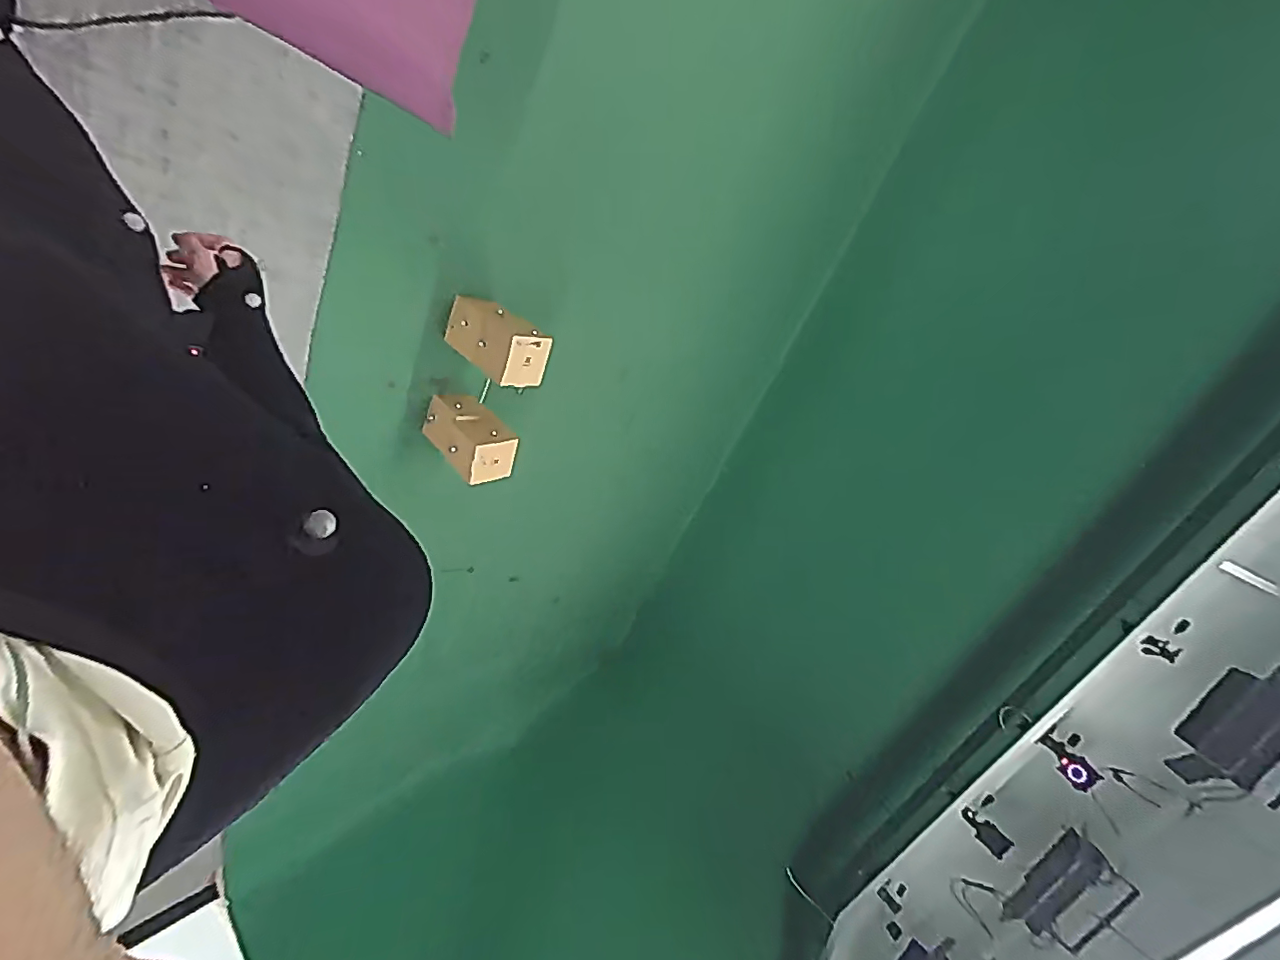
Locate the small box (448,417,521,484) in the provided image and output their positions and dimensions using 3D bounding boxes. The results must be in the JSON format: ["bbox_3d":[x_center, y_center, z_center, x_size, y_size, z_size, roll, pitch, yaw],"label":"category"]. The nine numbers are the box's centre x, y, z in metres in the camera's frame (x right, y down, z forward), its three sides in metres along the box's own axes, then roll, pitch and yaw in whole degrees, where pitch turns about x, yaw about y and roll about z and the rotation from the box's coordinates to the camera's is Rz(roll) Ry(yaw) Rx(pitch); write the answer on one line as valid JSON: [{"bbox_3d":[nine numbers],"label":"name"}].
[{"bbox_3d":[-0.561,-0.113,1.945,0.179,0.176,0.168,-16,136,-46],"label":"small box"}]

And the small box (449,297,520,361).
[{"bbox_3d":[-0.529,-0.516,1.865,0.179,0.176,0.168,-9,131,-52],"label":"small box"}]

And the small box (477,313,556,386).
[{"bbox_3d":[-0.414,-0.429,1.788,0.168,0.176,0.179,-12,134,-51],"label":"small box"}]
